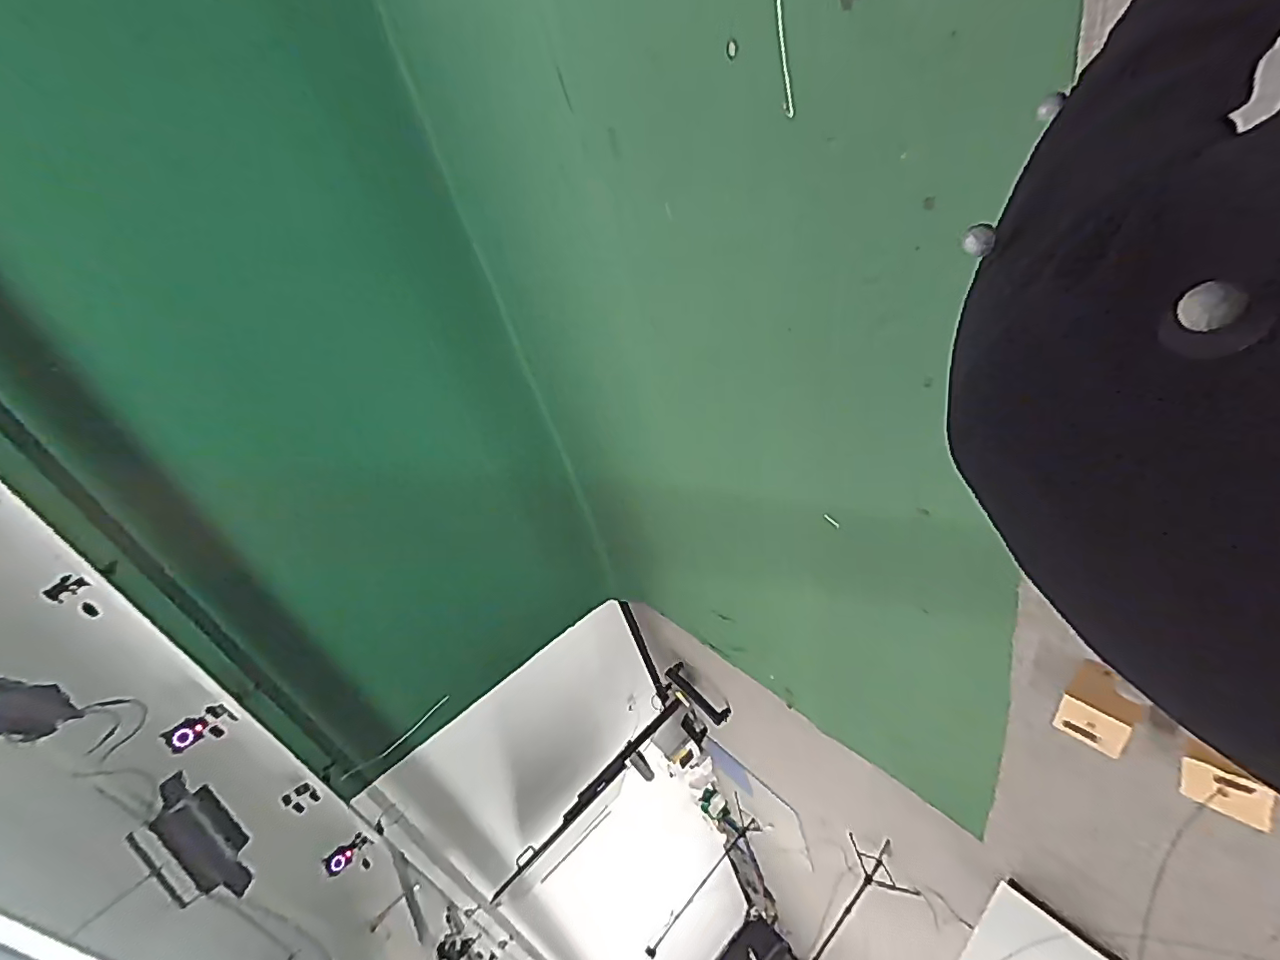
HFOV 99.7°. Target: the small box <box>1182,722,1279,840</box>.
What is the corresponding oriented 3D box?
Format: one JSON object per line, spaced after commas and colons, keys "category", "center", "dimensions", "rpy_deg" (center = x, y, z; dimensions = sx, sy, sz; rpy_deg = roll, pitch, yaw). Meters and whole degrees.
{"category": "small box", "center": [1.574, 0.783, 1.428], "dimensions": [0.168, 0.176, 0.179], "rpy_deg": [15, 133, 55]}
